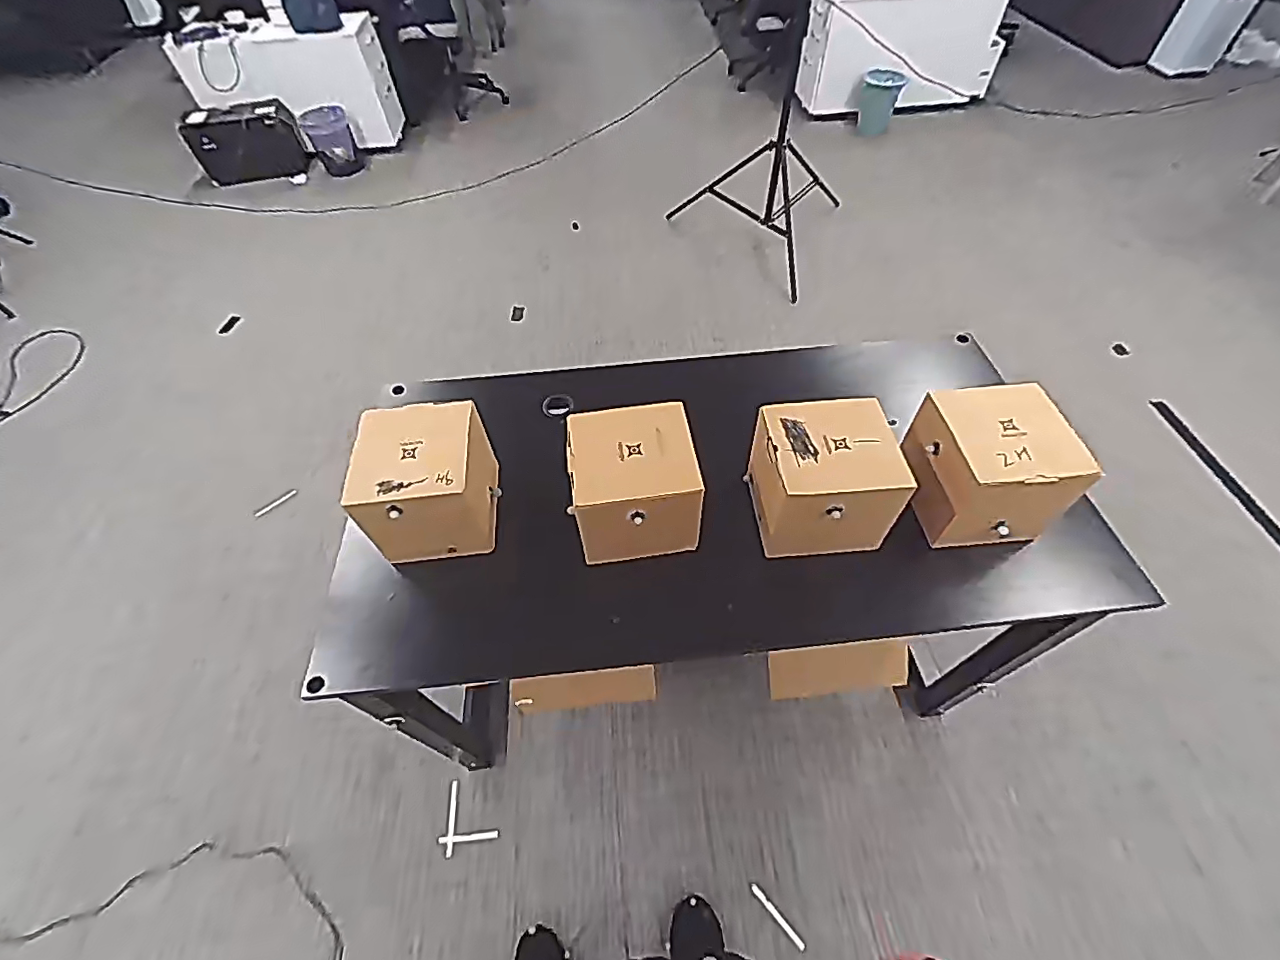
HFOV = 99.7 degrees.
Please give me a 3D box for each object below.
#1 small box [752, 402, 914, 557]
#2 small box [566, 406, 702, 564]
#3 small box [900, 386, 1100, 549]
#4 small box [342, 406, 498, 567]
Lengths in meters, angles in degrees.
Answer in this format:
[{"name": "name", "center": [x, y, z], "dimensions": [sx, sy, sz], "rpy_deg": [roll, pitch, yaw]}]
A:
[{"name": "small box", "center": [0.269, 0.005, 0.809], "dimensions": [0.179, 0.176, 0.168], "rpy_deg": [-4, 53, 0]}, {"name": "small box", "center": [-0.010, 0.013, 0.819], "dimensions": [0.179, 0.176, 0.168], "rpy_deg": [-8, 54, -4]}, {"name": "small box", "center": [0.514, -0.016, 0.813], "dimensions": [0.168, 0.176, 0.179], "rpy_deg": [-5, 53, 1]}, {"name": "small box", "center": [-0.321, 0.011, 0.831], "dimensions": [0.168, 0.176, 0.179], "rpy_deg": [-6, 53, -3]}]
